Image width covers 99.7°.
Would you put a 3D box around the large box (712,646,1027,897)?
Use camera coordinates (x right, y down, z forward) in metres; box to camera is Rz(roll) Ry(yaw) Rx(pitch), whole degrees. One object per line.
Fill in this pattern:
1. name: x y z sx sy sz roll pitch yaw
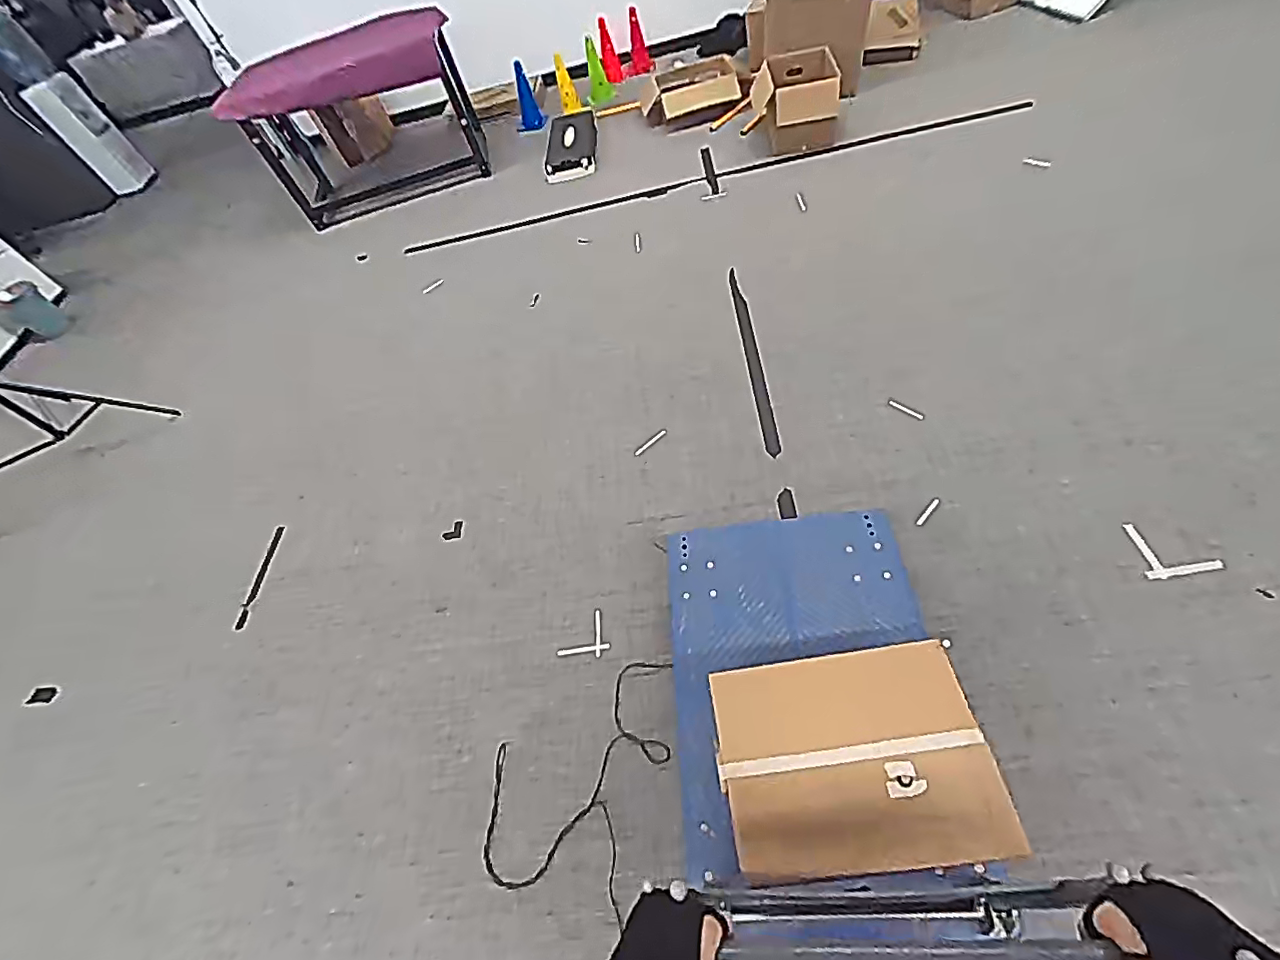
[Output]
1. large box: 0.362 0.534 0.980 0.408 0.320 0.320 -11 54 5
